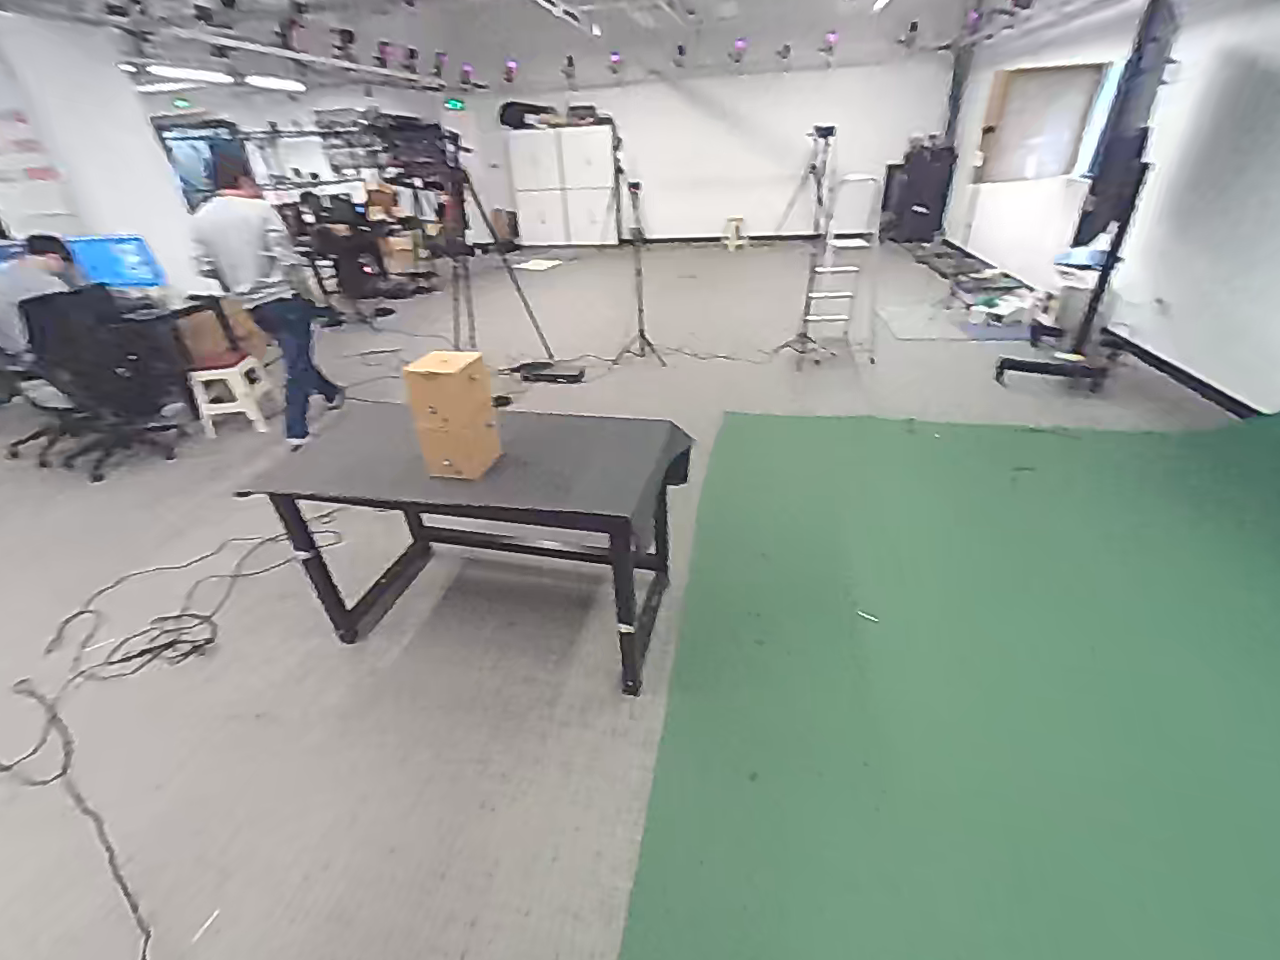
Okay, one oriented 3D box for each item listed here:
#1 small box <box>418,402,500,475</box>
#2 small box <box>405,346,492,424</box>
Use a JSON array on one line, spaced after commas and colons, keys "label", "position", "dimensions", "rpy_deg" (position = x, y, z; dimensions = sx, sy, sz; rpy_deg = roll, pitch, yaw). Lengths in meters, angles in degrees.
[{"label": "small box", "position": [-0.539, -0.134, 1.644], "dimensions": [0.168, 0.176, 0.179], "rpy_deg": [5, 32, 13]}, {"label": "small box", "position": [-0.543, -0.276, 1.565], "dimensions": [0.168, 0.176, 0.179], "rpy_deg": [6, 32, 12]}]
